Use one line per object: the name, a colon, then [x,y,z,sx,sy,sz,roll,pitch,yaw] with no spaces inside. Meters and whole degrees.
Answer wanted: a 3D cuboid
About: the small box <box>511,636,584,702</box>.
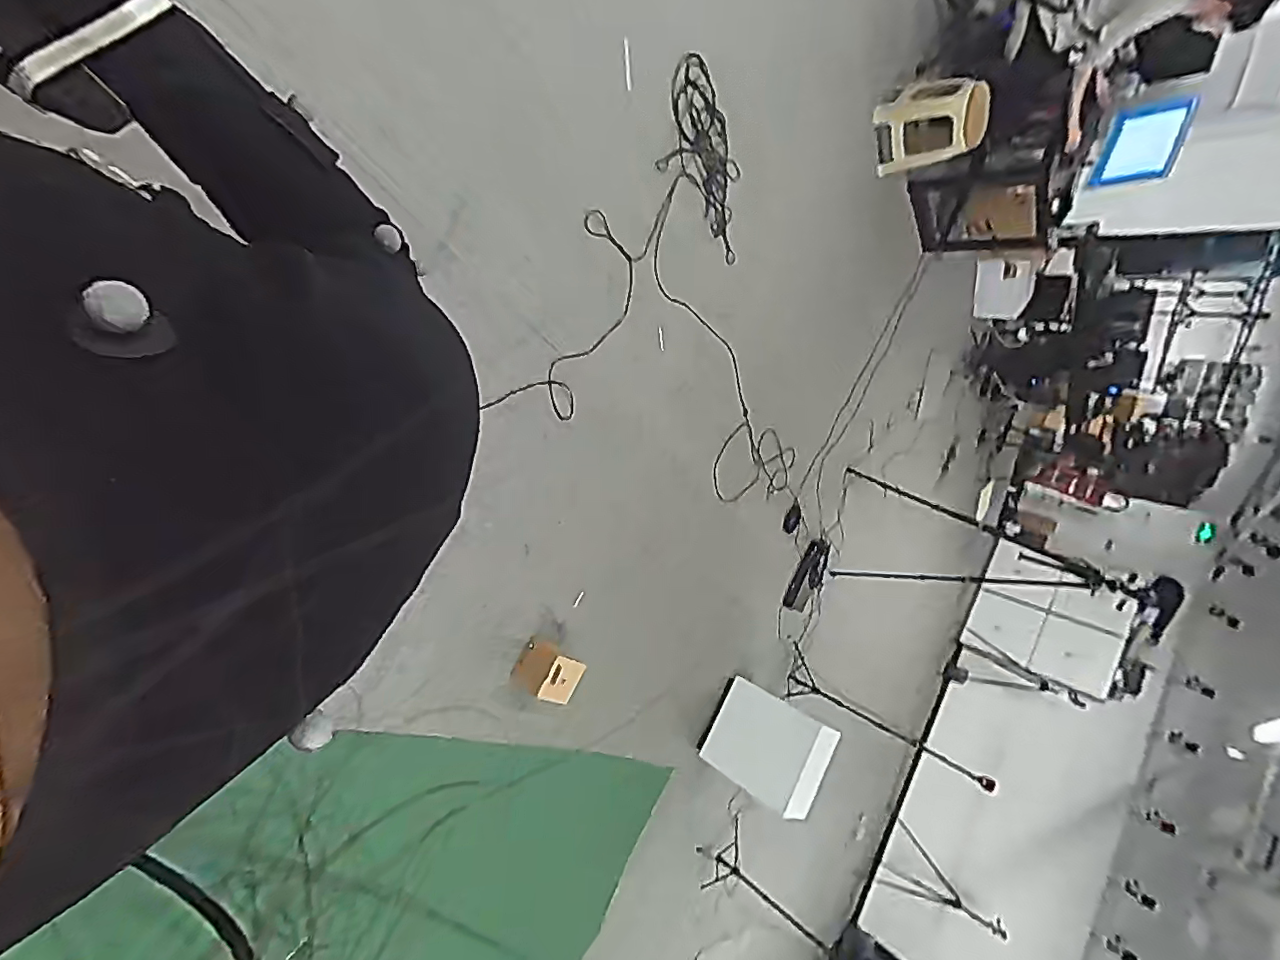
small box: [-0.353,0.709,2.041,0.179,0.176,0.168,41,73,-47]
